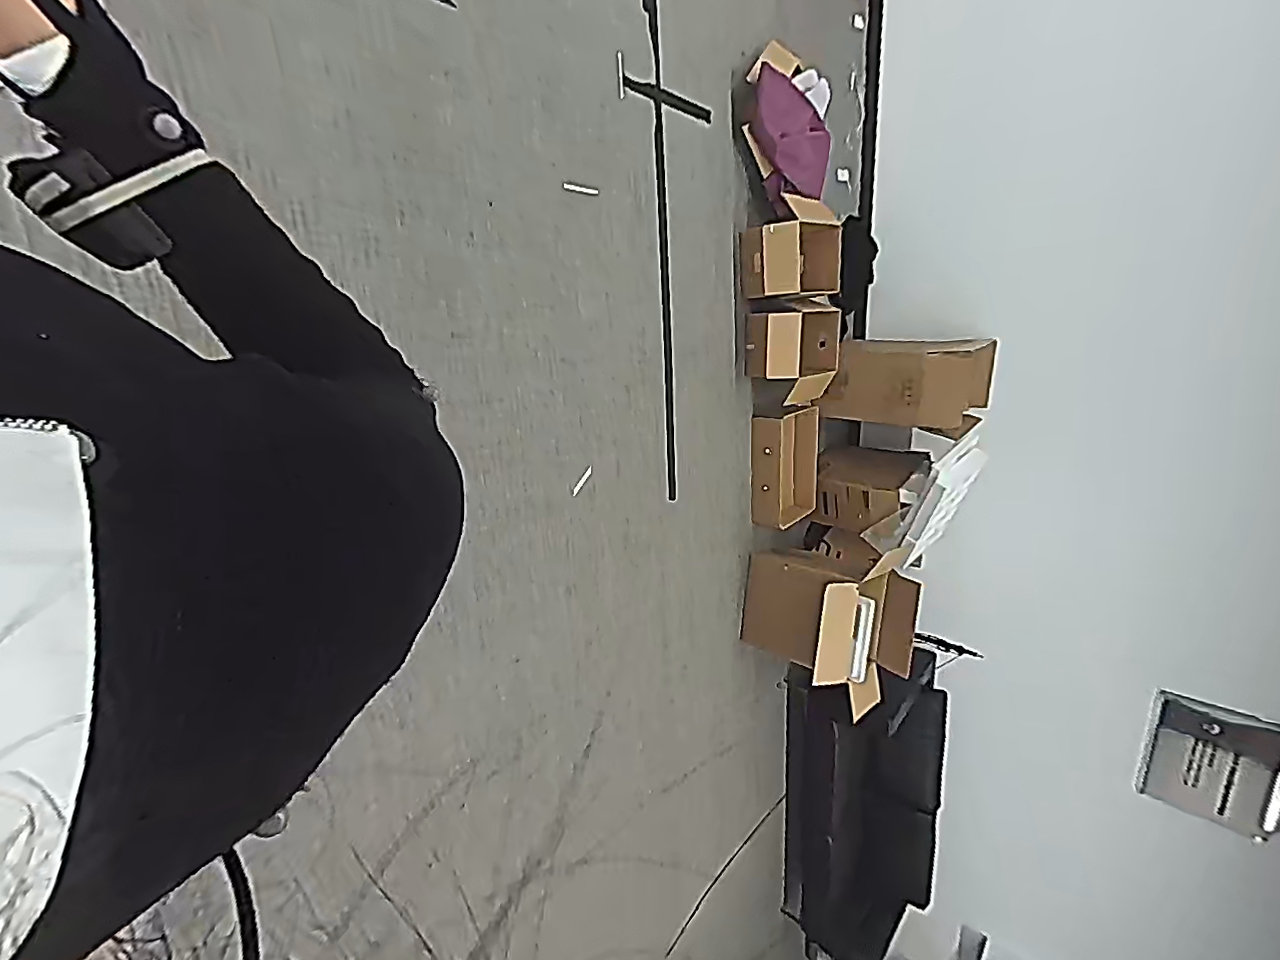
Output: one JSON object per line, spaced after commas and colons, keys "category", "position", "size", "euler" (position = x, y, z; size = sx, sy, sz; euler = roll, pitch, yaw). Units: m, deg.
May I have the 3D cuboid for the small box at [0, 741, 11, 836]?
{"category": "small box", "position": [-1.148, 0.494, 0.861], "size": [0.168, 0.176, 0.179], "euler": [-14, 108, -45]}
